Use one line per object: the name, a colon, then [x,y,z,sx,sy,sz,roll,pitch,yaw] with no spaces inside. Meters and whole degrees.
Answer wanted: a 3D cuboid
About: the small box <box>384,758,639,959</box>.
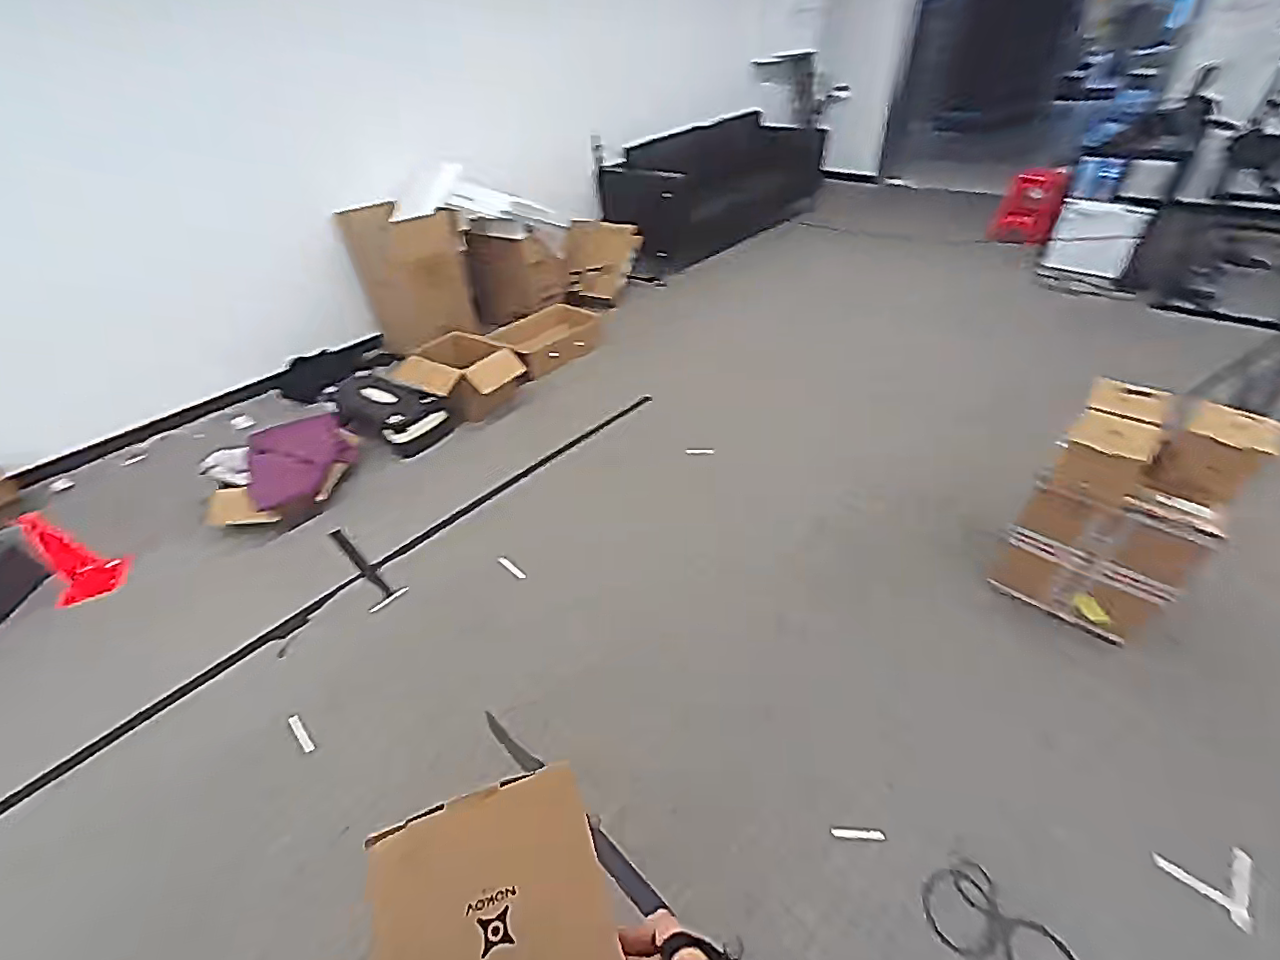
small box: [-0.102,0.368,0.452,0.168,0.176,0.179,-13,54,-16]
